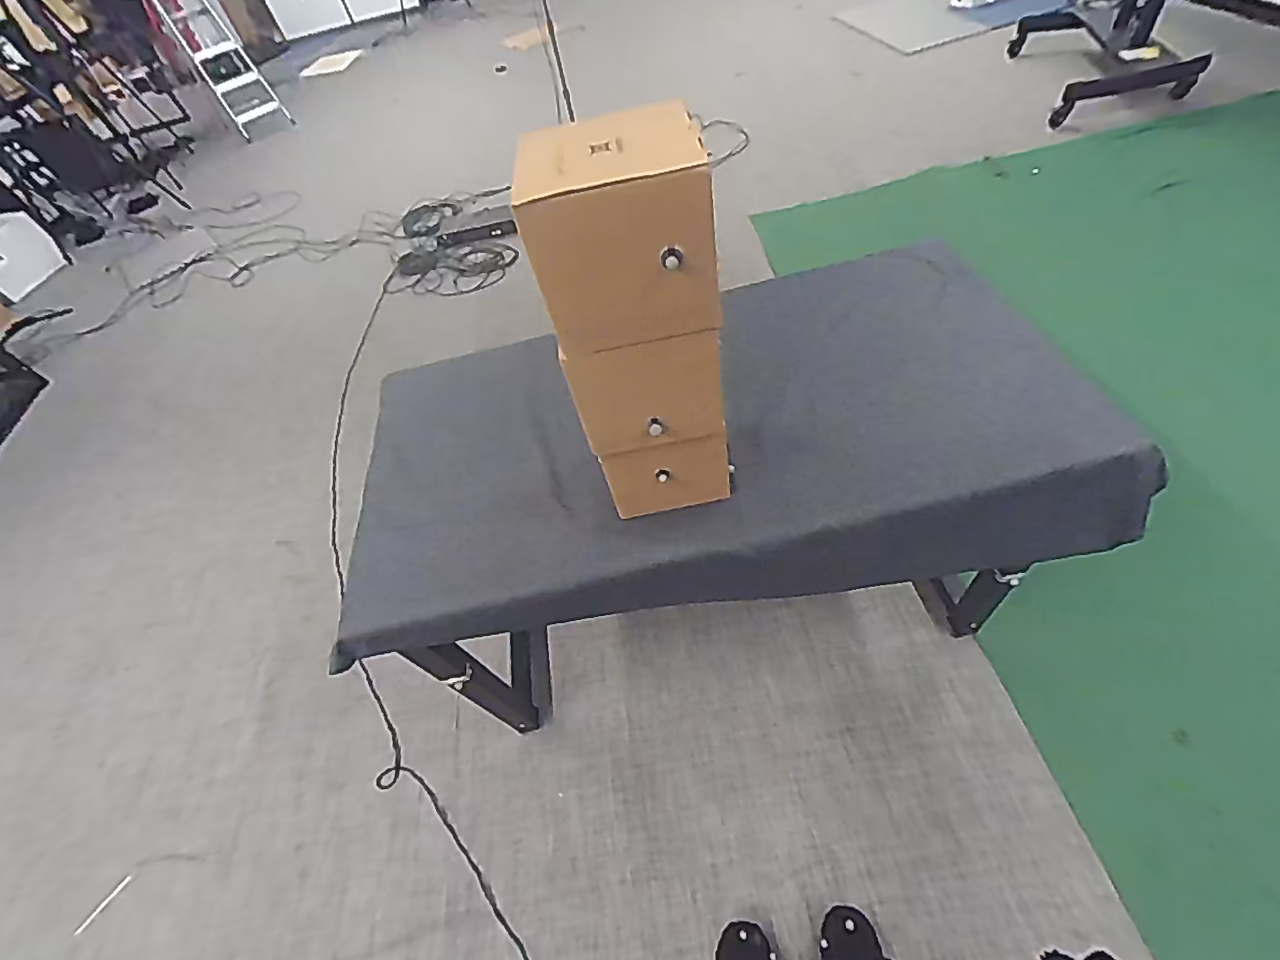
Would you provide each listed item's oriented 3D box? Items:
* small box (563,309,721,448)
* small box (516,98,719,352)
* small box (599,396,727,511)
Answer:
[{"bbox_3d":[0.004,-0.163,0.698,0.179,0.176,0.168,-11,52,3],"label":"small box"},{"bbox_3d":[-0.016,-0.261,0.569,0.179,0.176,0.168,-11,51,5],"label":"small box"},{"bbox_3d":[0.034,-0.074,0.831,0.179,0.176,0.168,-12,52,4],"label":"small box"}]
